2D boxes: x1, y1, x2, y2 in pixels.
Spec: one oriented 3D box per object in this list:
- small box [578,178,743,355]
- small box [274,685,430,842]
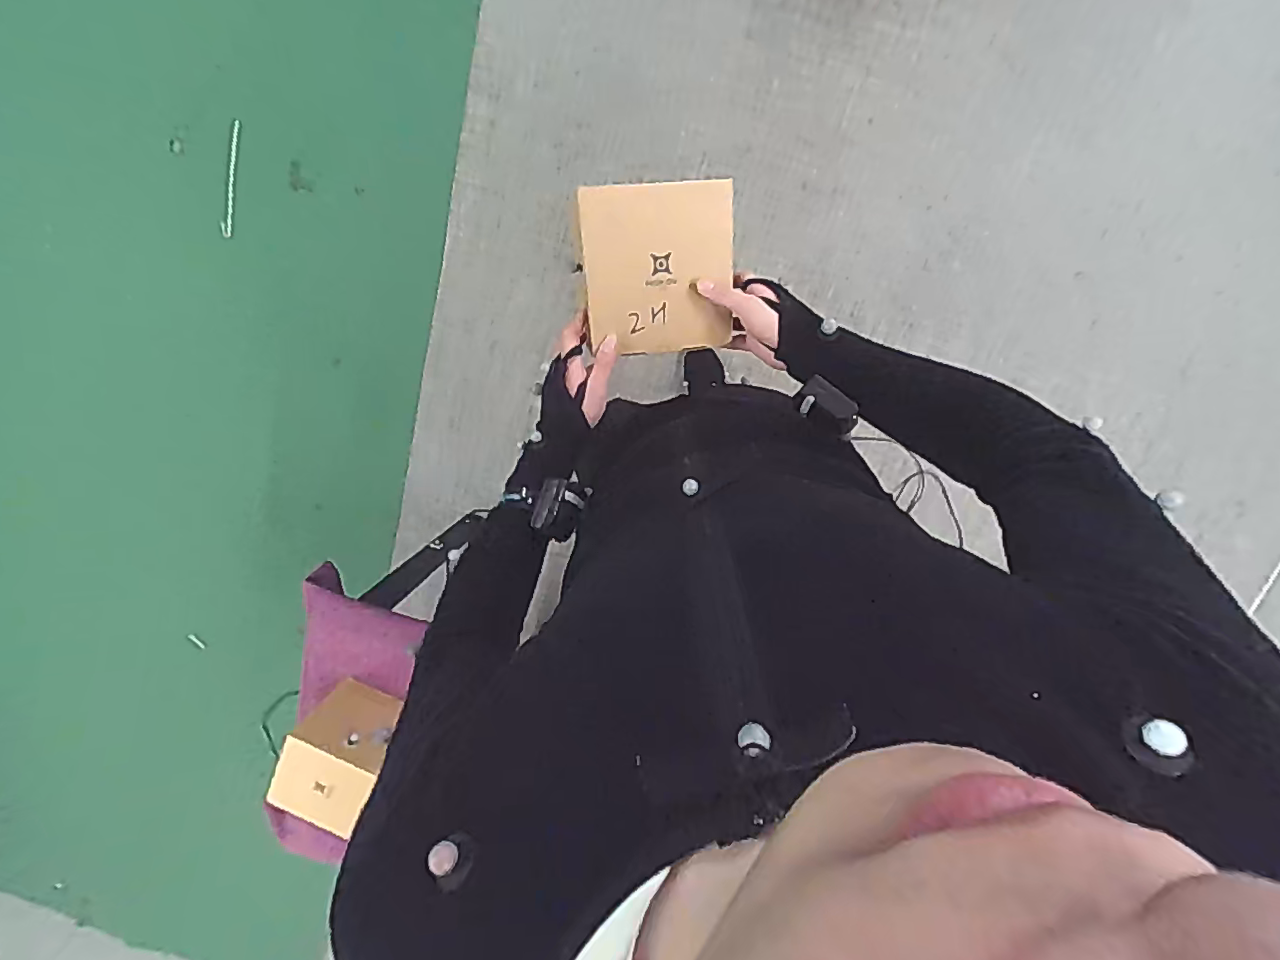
[{"bbox_3d":[0.016,-0.256,0.655,0.168,0.176,0.179,-5,114,-8],"label":"small box"},{"bbox_3d":[-0.533,0.521,1.019,0.179,0.176,0.168,26,106,-1],"label":"small box"}]
